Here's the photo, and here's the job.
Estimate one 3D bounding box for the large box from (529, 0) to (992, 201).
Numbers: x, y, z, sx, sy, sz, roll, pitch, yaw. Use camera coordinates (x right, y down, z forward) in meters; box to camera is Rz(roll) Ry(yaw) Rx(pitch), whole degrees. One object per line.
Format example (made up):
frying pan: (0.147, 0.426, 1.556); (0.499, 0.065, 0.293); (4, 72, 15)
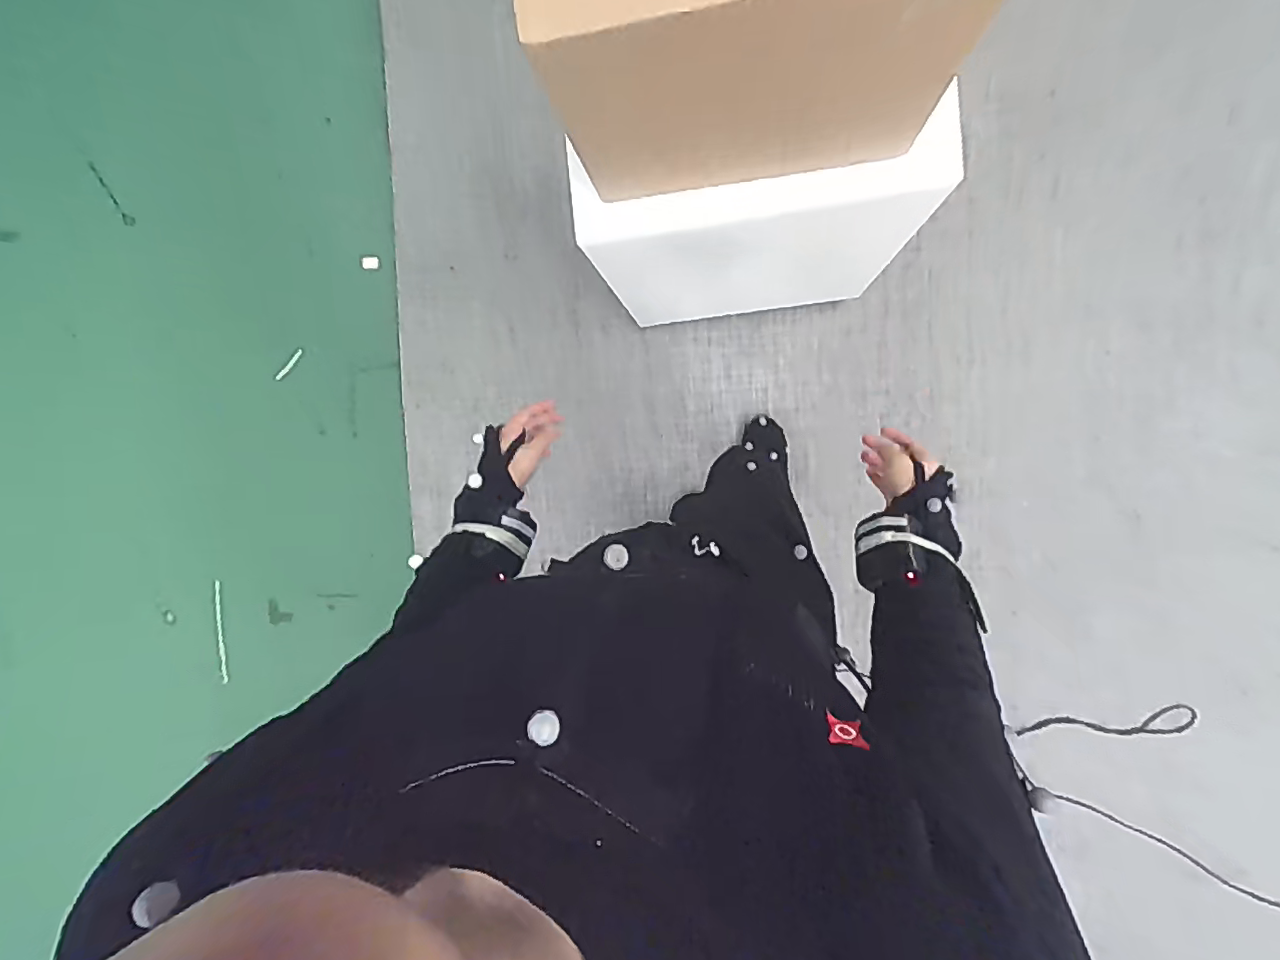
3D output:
large box: (0.107, -0.545, 0.571); (0.408, 0.320, 0.320); (-5, 93, 8)
